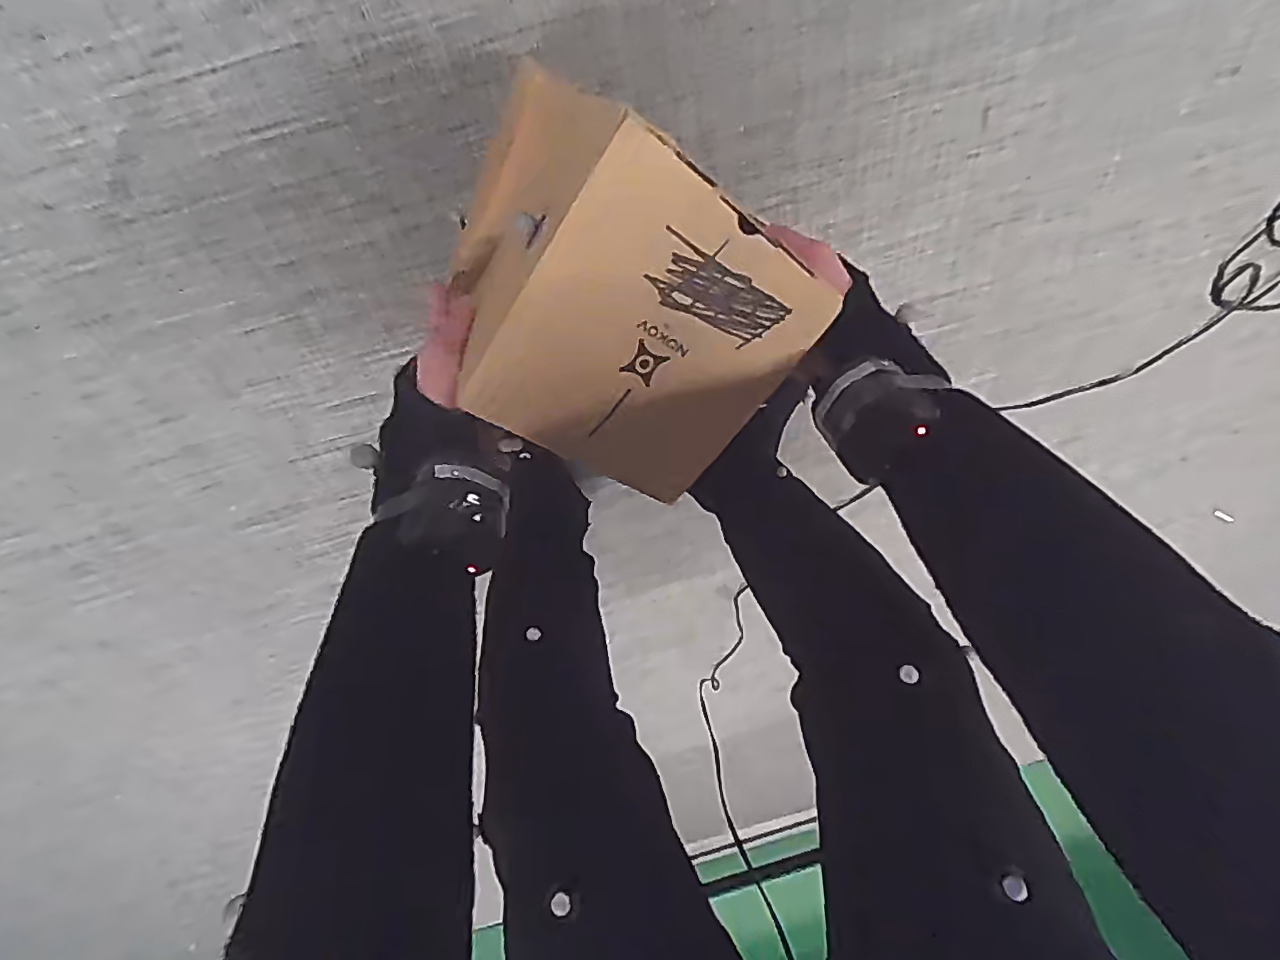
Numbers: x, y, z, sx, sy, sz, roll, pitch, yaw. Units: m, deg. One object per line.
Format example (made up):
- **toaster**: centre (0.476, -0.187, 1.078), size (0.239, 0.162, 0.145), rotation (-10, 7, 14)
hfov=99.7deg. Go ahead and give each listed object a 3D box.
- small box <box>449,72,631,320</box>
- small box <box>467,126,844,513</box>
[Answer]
- **small box**: centre (-0.062, -0.234, 0.500), size (0.168, 0.176, 0.179), rotation (18, 123, -28)
- **small box**: centre (-0.005, -0.115, 0.380), size (0.168, 0.176, 0.179), rotation (27, 115, -28)
